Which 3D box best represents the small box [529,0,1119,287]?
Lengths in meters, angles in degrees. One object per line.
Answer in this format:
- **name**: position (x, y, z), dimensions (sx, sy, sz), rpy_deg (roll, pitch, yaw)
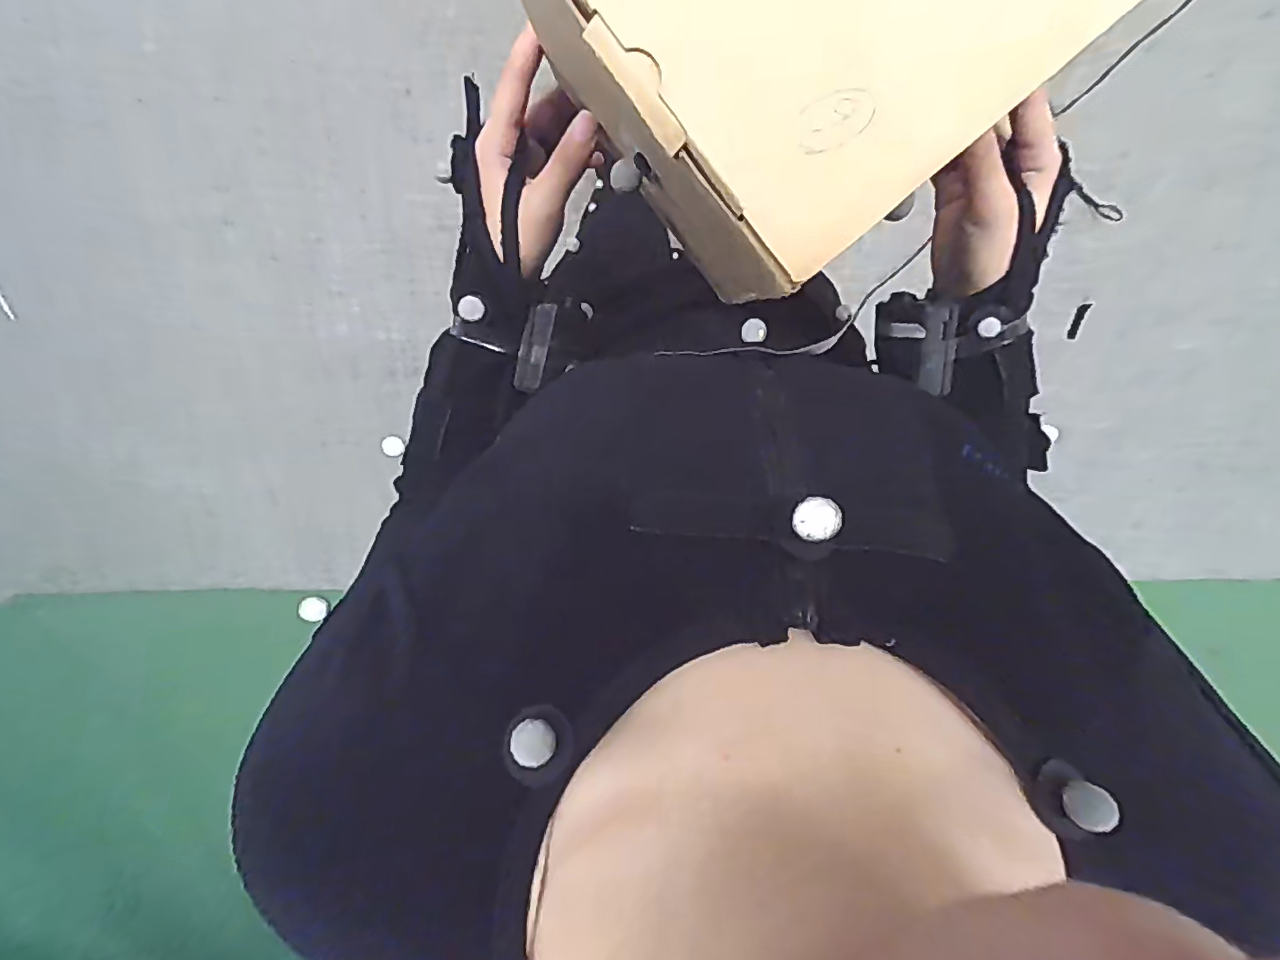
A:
- **small box**: position (0.063, -0.201, 0.227), dimensions (0.179, 0.176, 0.168), rpy_deg (-38, 102, 13)
